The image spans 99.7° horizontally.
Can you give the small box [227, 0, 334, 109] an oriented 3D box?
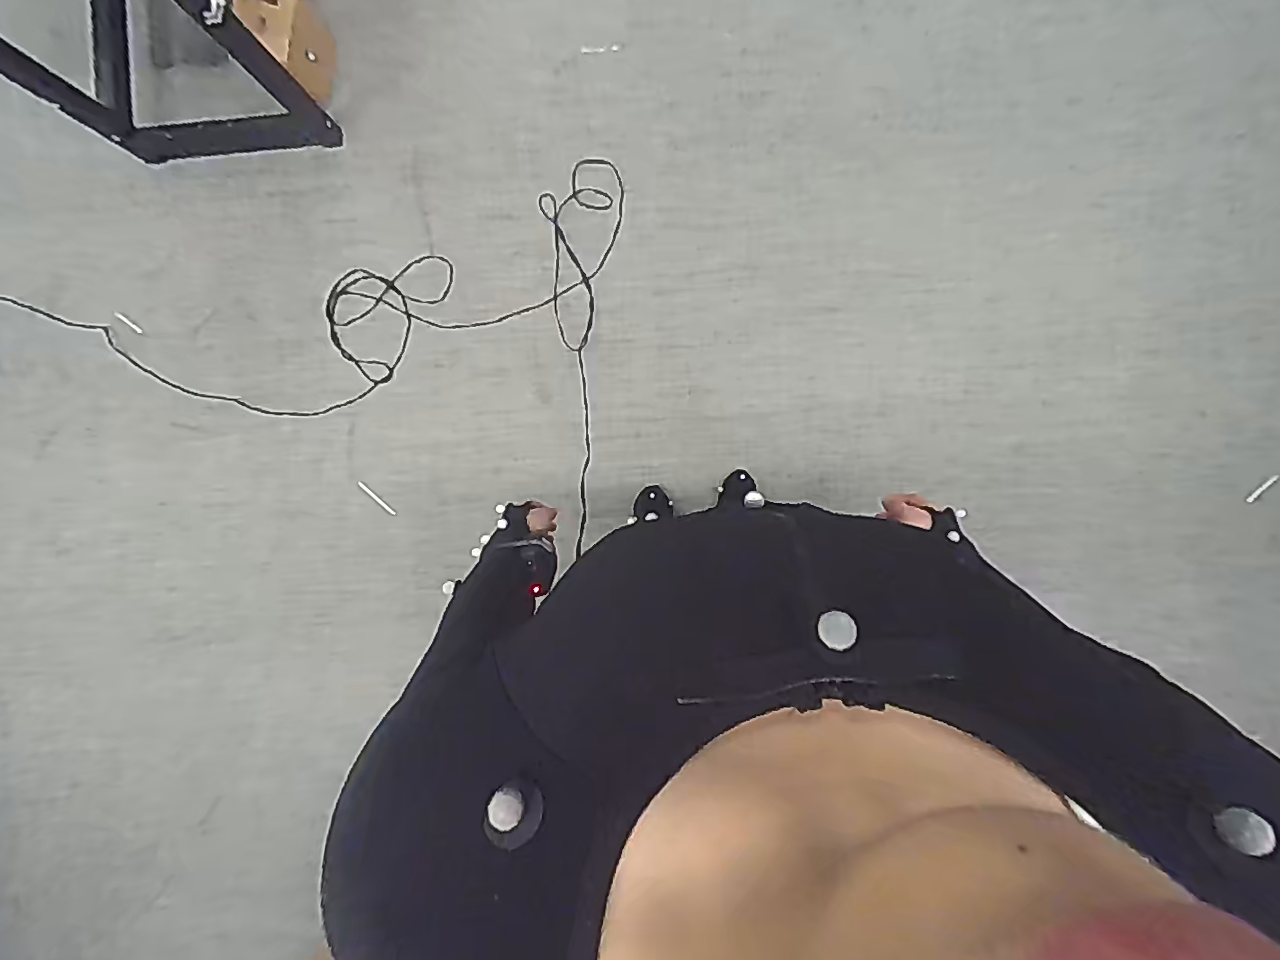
[{"bbox_3d":[-0.950,-1.136,1.442,0.168,0.176,0.179,9,91,2],"label":"small box"}]
